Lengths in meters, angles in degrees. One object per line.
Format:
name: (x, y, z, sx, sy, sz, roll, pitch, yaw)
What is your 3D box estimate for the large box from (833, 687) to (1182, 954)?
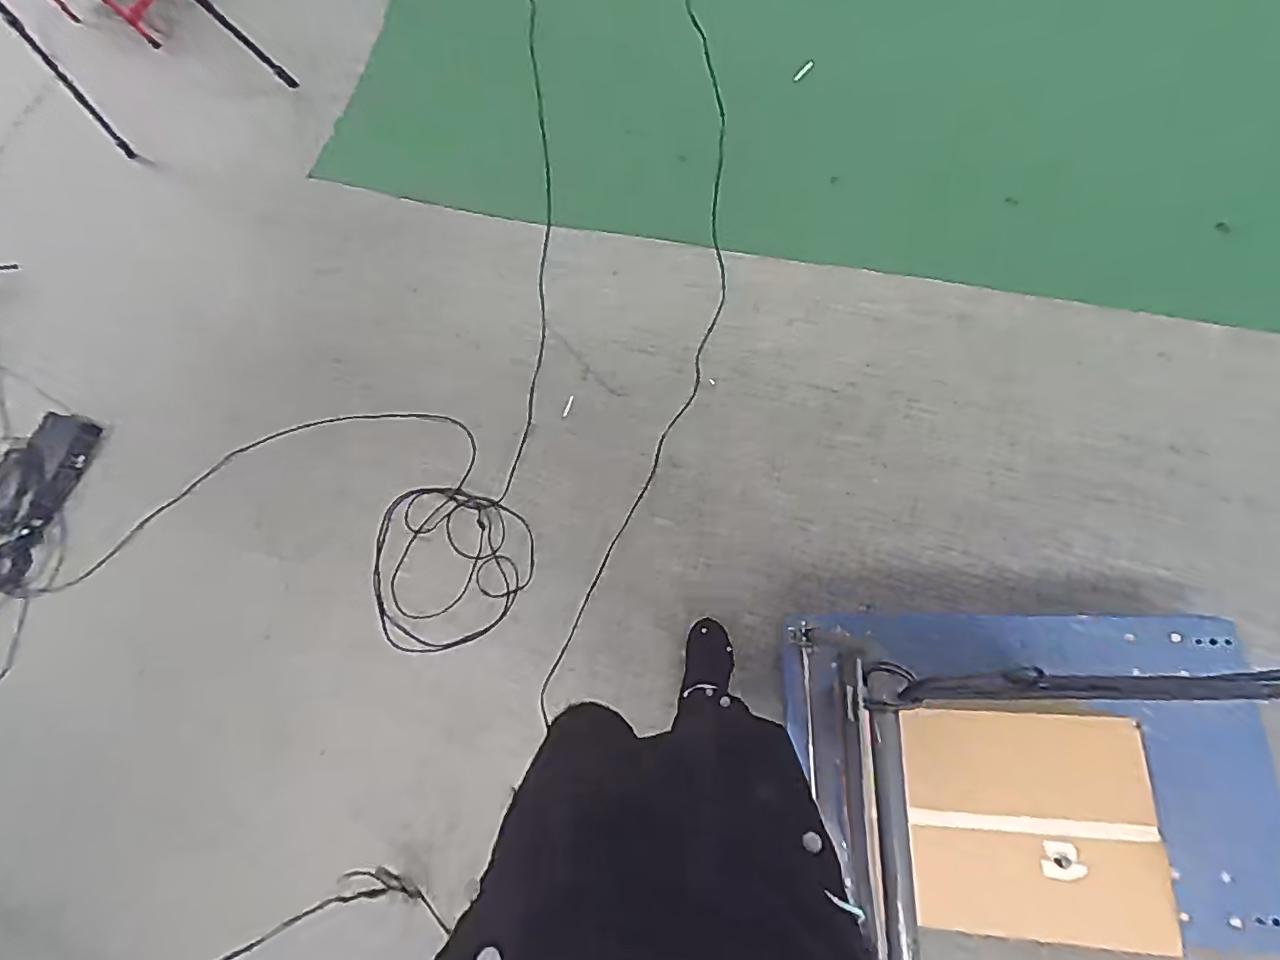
large box: (0.585, 0.551, 0.960, 0.408, 0.320, 0.320, -1, 77, 10)
